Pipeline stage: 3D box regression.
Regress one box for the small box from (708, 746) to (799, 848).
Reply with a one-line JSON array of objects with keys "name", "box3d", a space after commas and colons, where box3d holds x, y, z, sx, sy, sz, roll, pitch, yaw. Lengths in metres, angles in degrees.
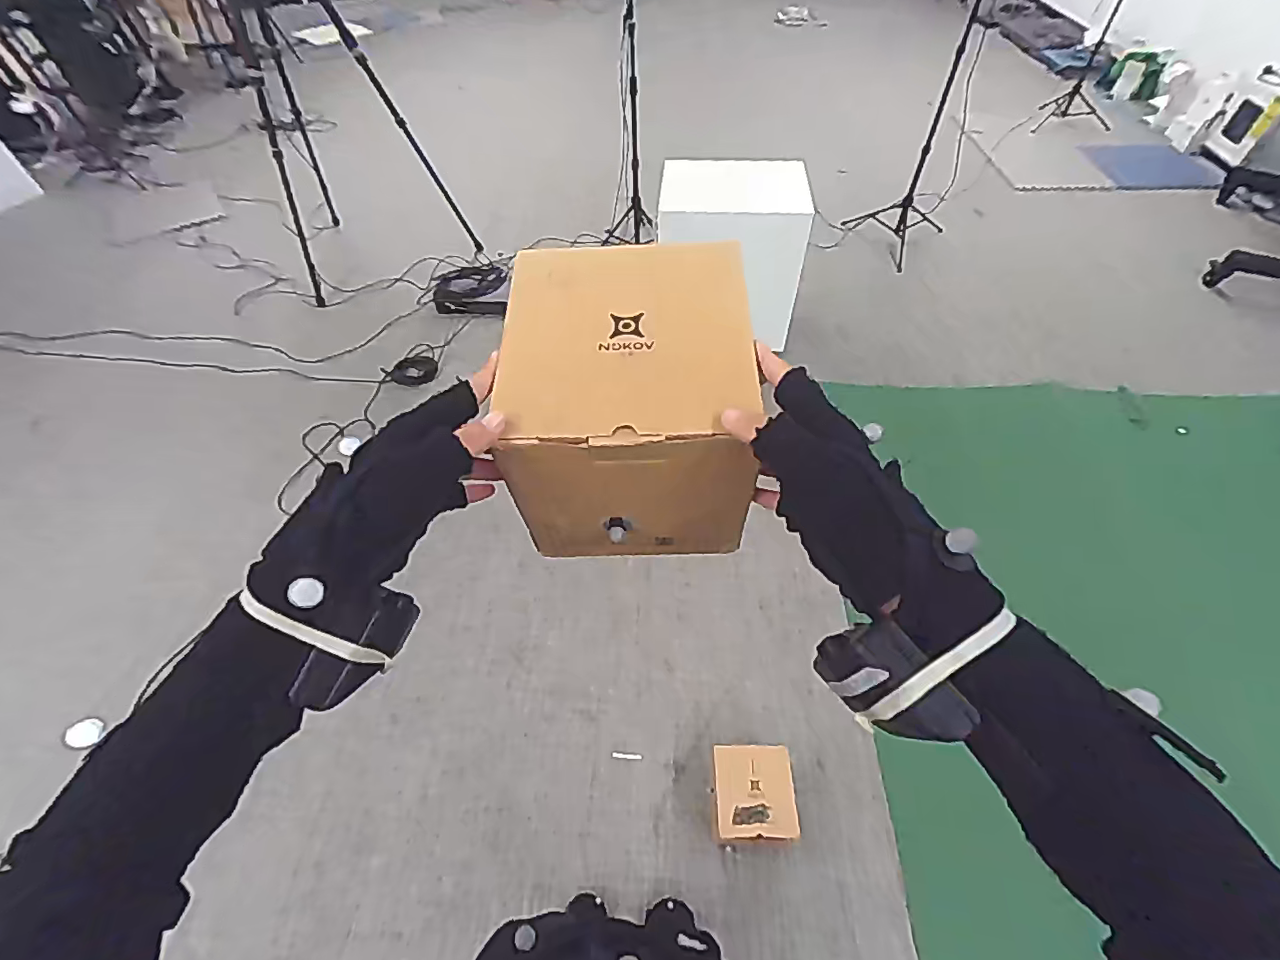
[{"name": "small box", "box3d": [0.242, 0.703, 1.194, 0.168, 0.176, 0.179, 0, 52, 1]}]
